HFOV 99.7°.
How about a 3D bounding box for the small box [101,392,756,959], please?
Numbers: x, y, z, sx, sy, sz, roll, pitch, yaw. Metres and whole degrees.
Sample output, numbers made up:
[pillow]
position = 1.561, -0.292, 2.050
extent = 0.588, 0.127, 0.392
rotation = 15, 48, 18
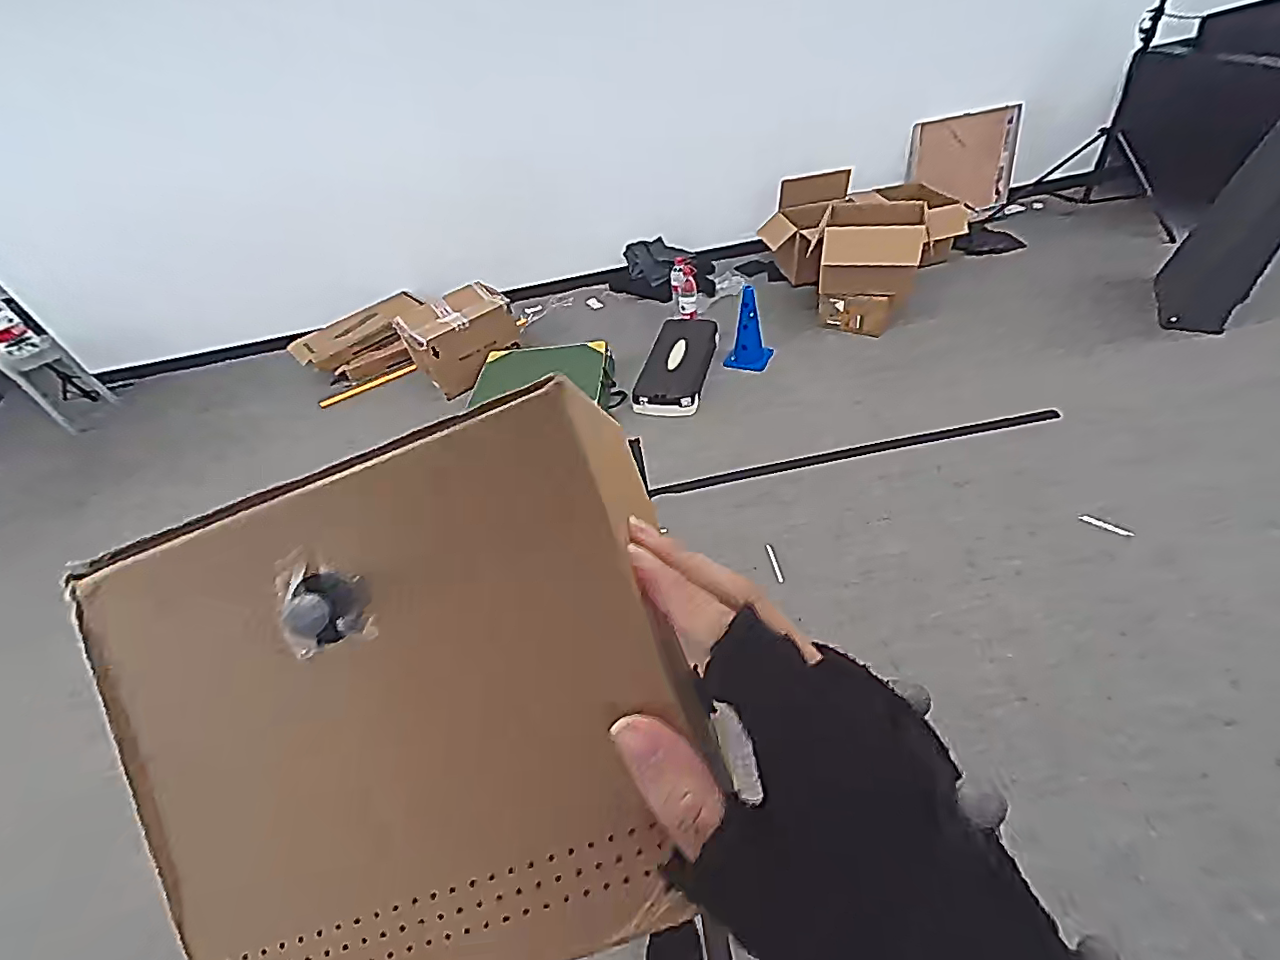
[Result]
[small box]
position = -0.066, 0.080, 0.248
extent = 0.179, 0.168, 0.176
rotation = -20, 89, 4
